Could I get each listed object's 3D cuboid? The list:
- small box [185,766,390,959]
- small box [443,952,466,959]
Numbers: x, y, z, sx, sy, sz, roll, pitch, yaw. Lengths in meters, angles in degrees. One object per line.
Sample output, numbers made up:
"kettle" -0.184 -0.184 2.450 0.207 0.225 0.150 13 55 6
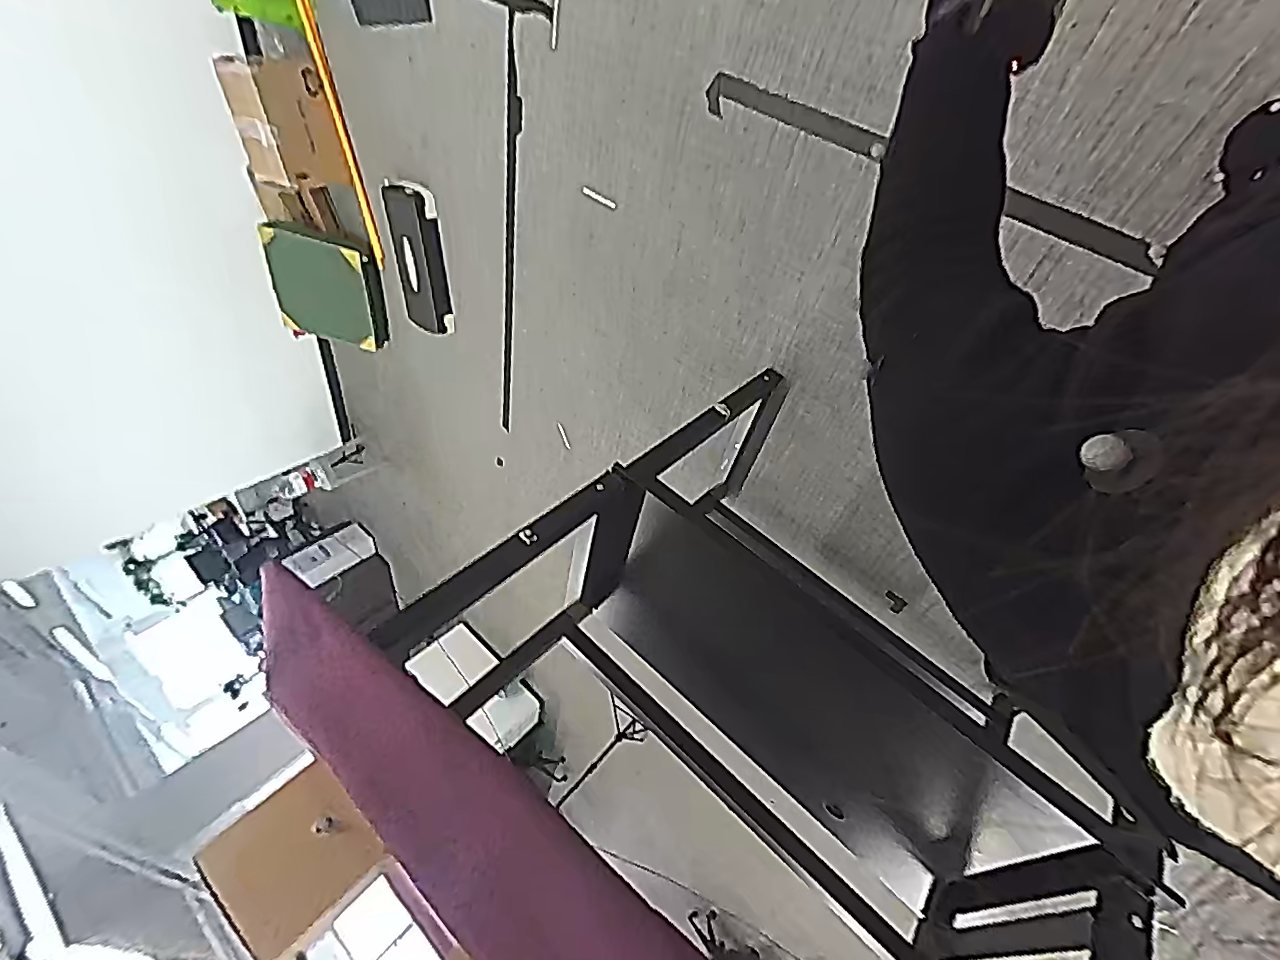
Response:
"small box" -0.481 0.536 0.763 0.179 0.176 0.168 41 141 16
"small box" -0.238 0.715 0.648 0.179 0.176 0.168 39 140 18
